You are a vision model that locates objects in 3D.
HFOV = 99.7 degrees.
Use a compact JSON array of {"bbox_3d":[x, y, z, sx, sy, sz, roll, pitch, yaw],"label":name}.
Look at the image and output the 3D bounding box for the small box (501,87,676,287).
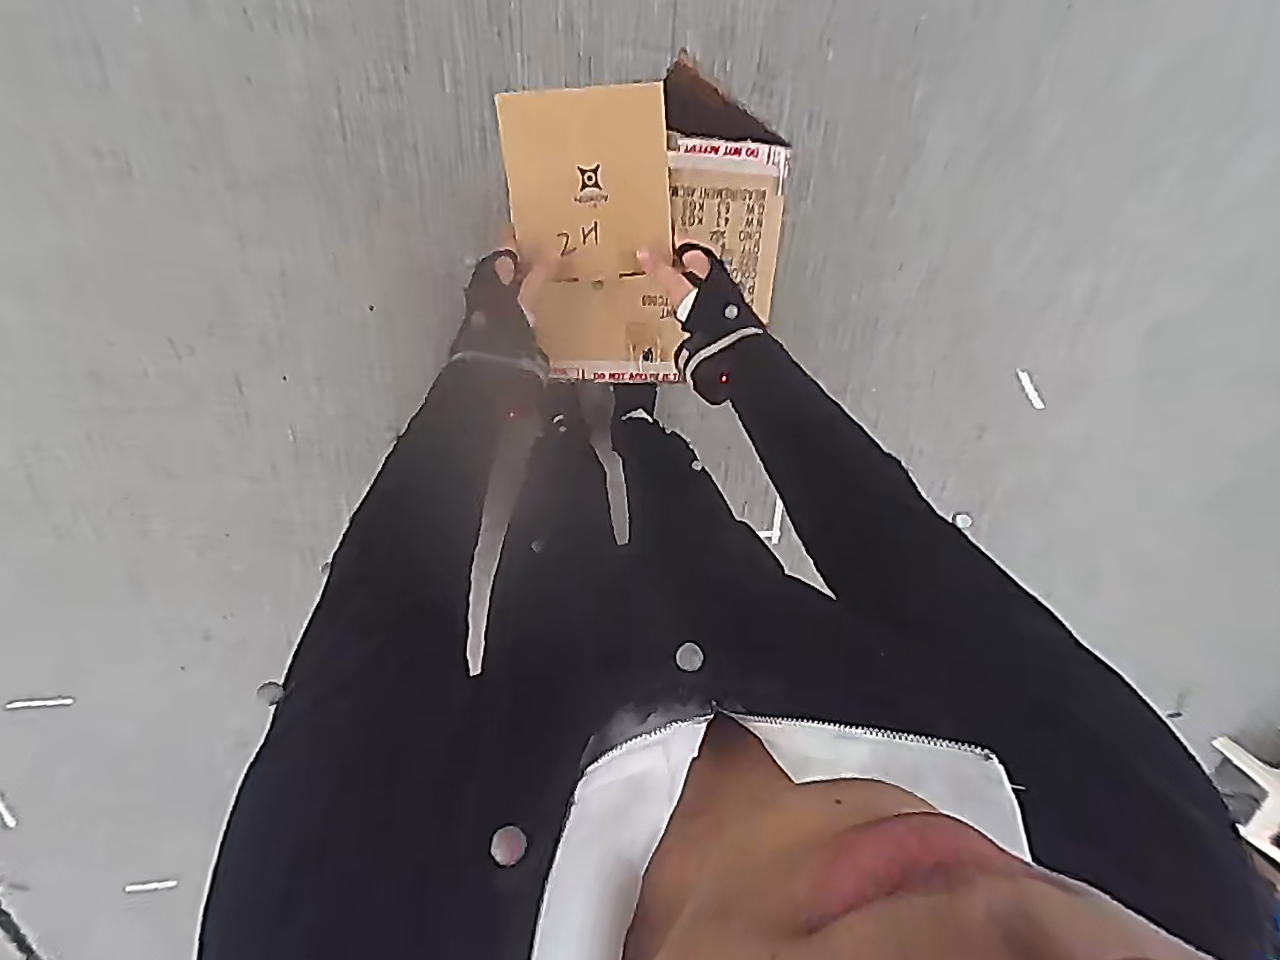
[{"bbox_3d":[-0.055,-0.319,0.622,0.168,0.176,0.179,-6,111,-2],"label":"small box"}]
